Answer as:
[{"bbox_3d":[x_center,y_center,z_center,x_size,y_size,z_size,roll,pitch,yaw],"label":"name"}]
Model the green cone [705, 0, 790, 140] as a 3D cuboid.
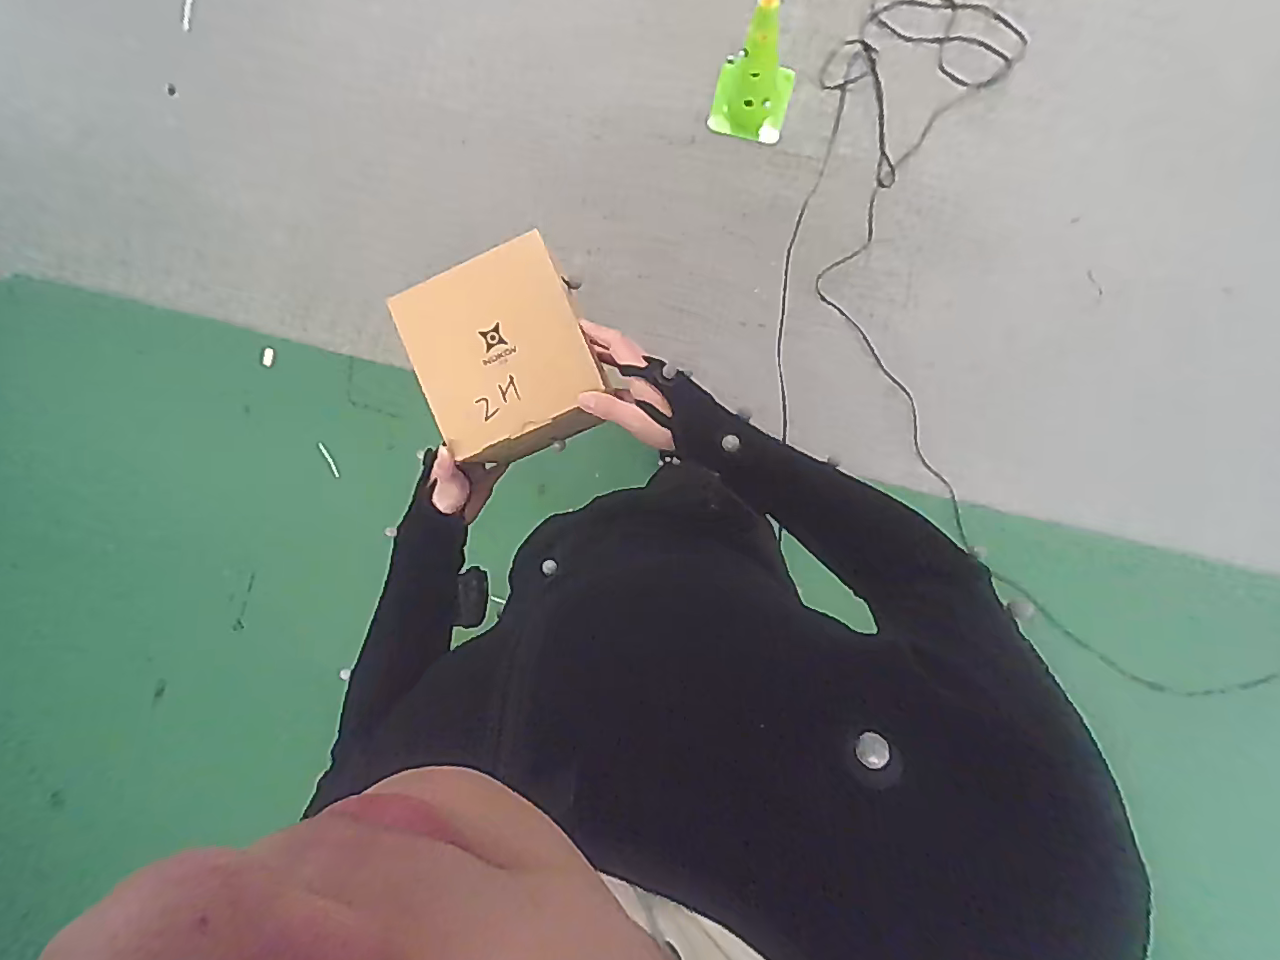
[{"bbox_3d":[0.281,-1.030,1.304,0.202,0.368,0.200,14,97,2],"label":"green cone"}]
